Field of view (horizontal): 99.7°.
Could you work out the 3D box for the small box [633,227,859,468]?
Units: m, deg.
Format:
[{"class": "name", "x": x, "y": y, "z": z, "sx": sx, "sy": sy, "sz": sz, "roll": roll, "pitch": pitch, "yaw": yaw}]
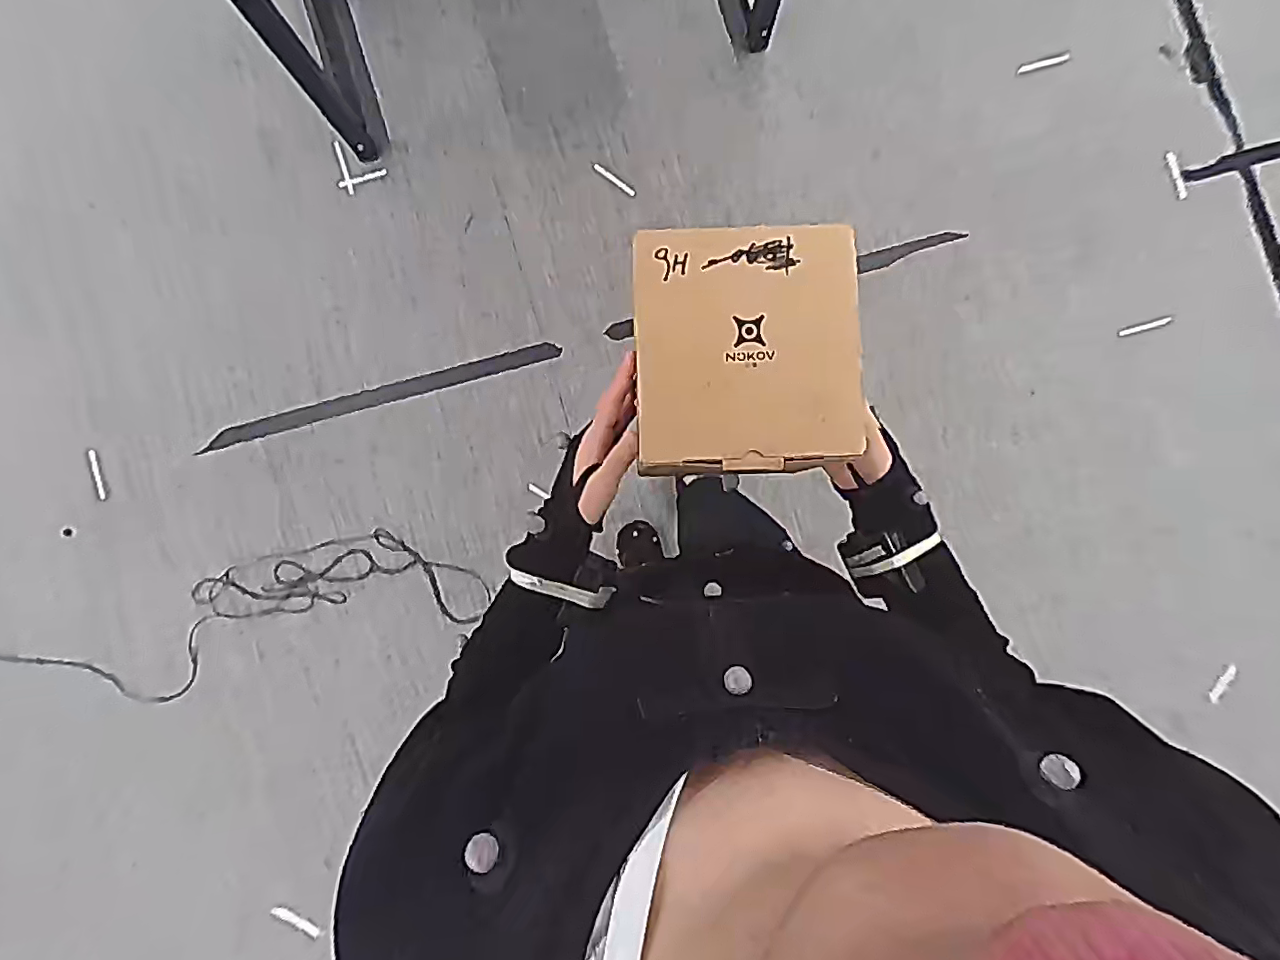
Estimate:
[{"class": "small box", "x": 0.079, "y": -0.100, "z": 0.481, "sx": 0.168, "sy": 0.176, "sz": 0.179, "roll": -2, "pitch": 88, "yaw": -2}]
